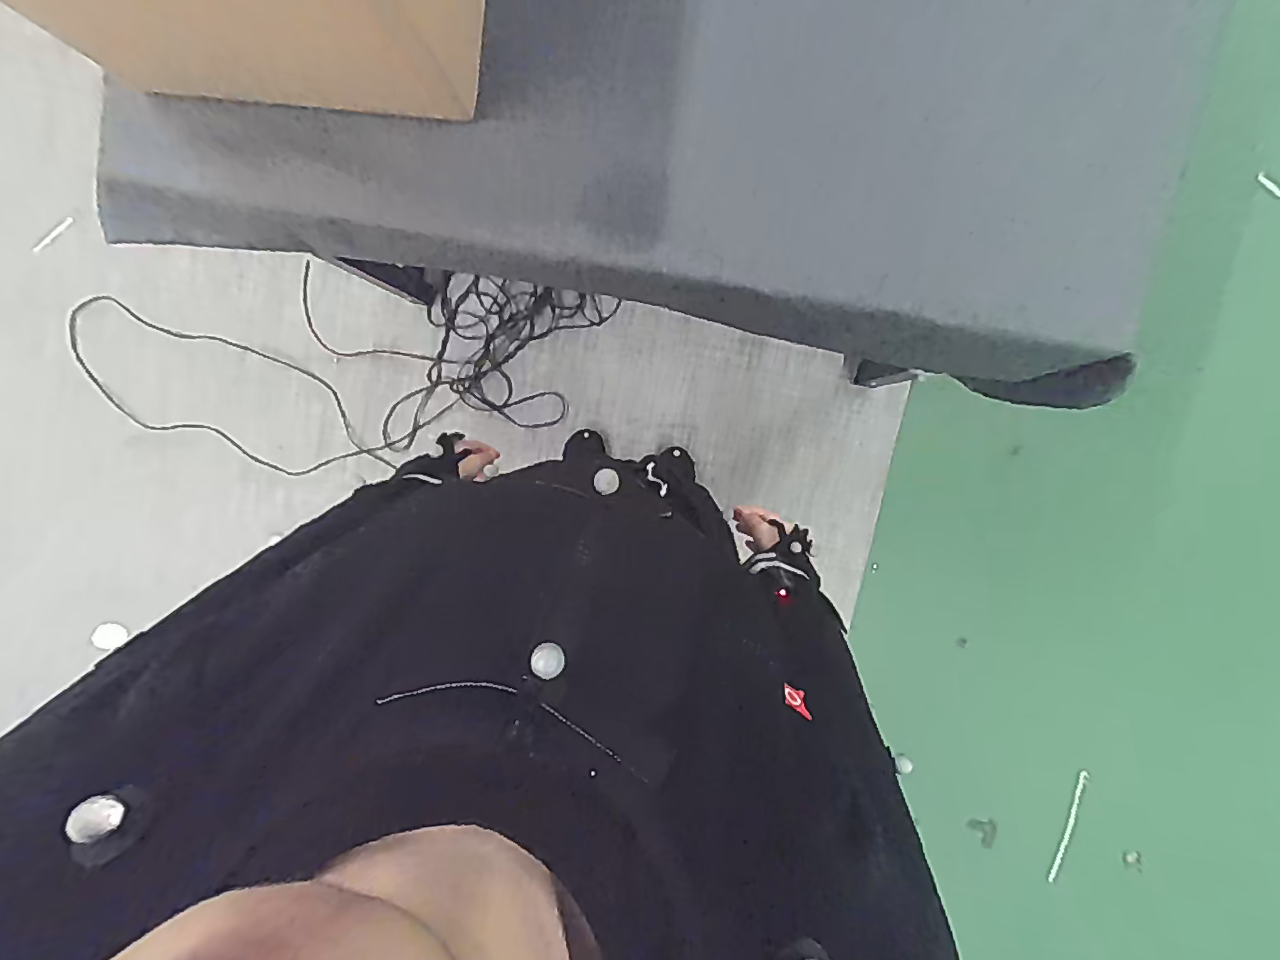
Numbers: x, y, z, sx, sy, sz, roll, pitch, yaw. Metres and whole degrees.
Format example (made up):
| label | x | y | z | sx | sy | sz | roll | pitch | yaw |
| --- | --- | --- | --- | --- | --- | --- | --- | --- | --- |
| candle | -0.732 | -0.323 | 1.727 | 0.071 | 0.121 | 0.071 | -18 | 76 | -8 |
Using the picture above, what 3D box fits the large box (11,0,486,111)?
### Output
| label | x | y | z | sx | sy | sz | roll | pitch | yaw |
| --- | --- | --- | --- | --- | --- | --- | --- | --- | --- |
| large box | -0.368 | -0.567 | 0.455 | 0.408 | 0.320 | 0.320 | 6 | 96 | 1 |
